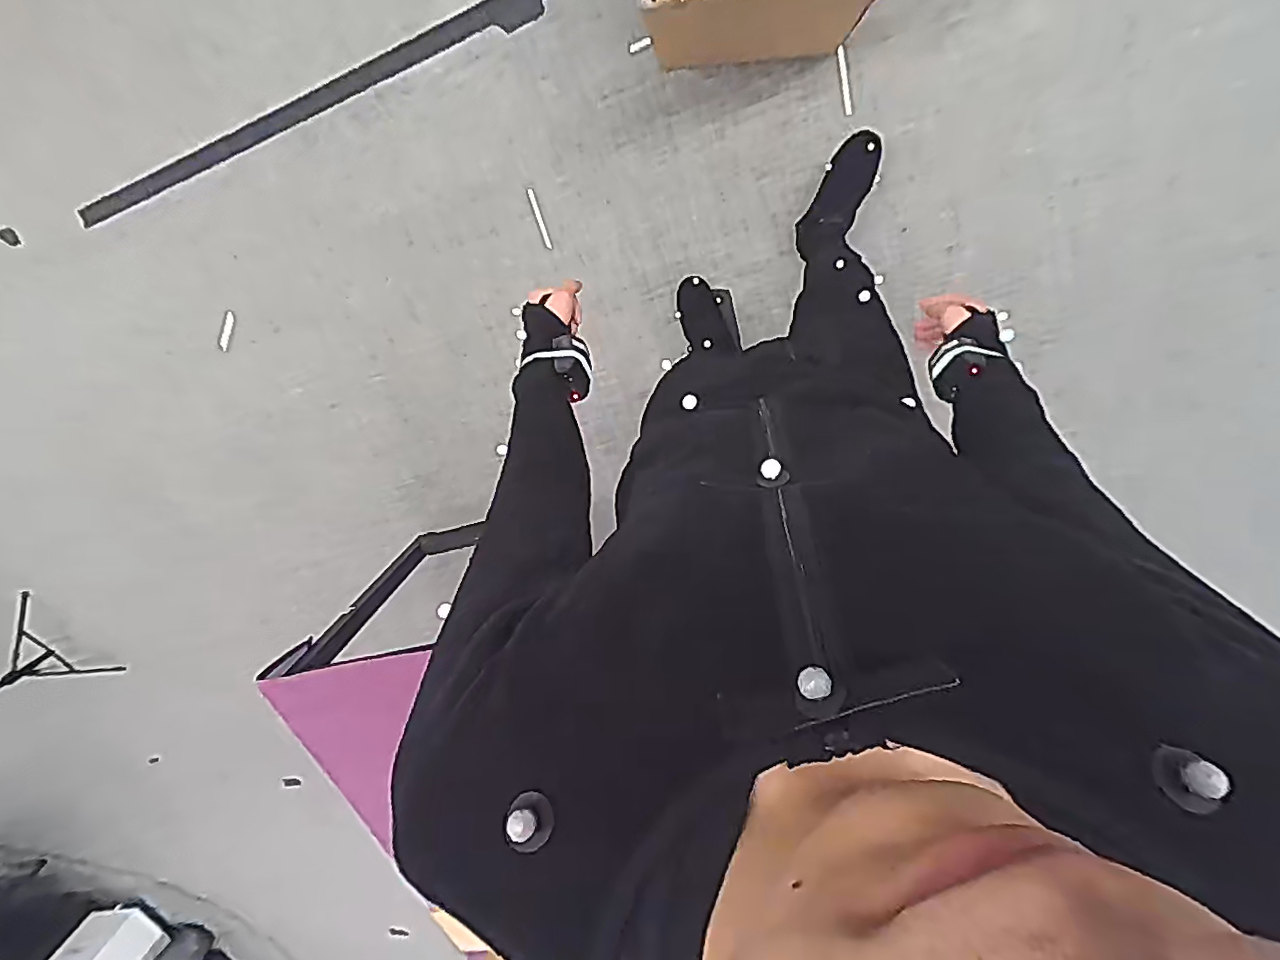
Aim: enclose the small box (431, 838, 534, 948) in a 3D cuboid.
[{"bbox_3d":[-0.387,1.043,1.374,0.179,0.176,0.168,-16,111,15],"label":"small box"}]
